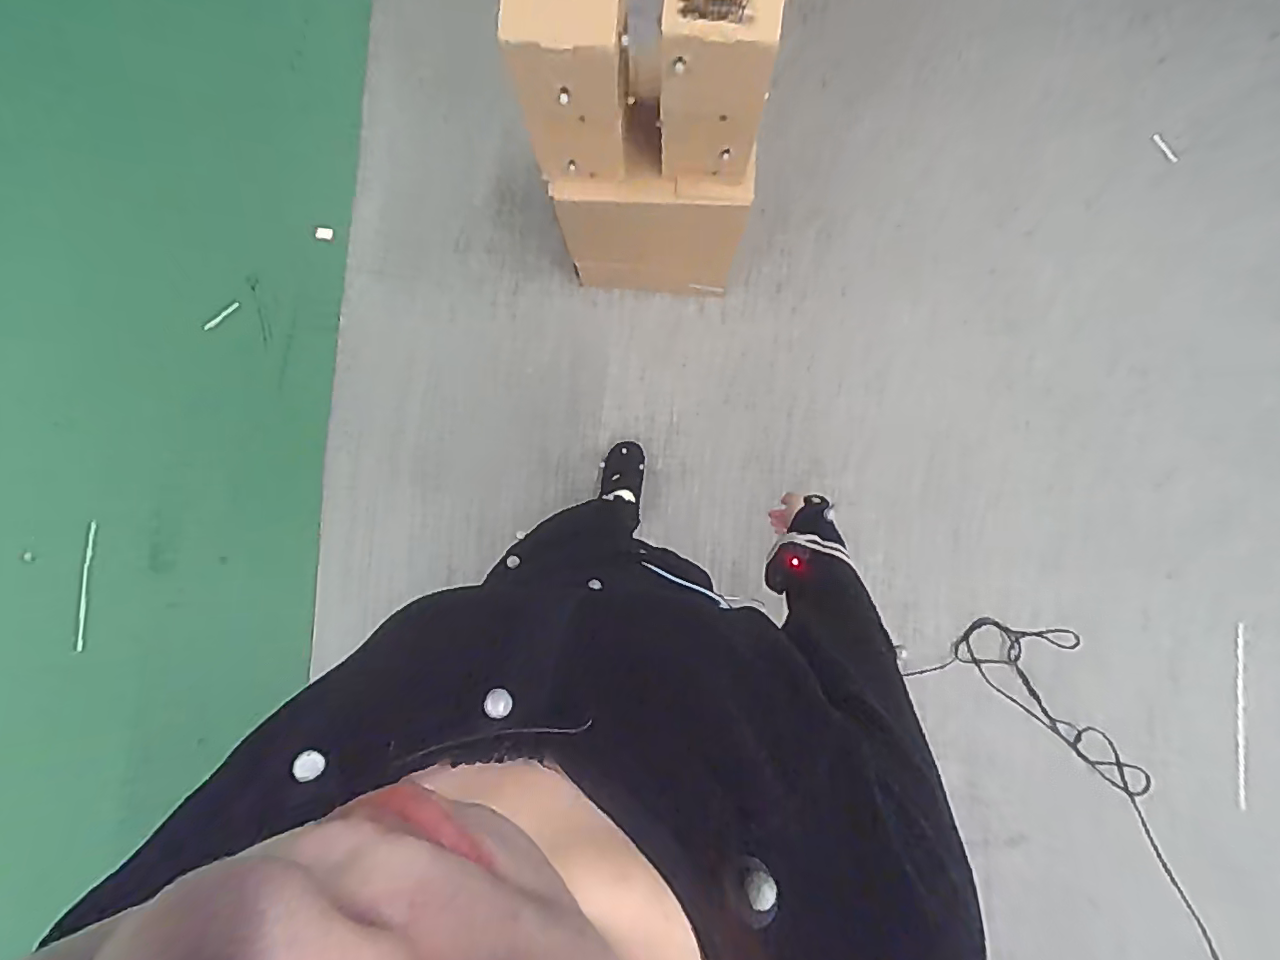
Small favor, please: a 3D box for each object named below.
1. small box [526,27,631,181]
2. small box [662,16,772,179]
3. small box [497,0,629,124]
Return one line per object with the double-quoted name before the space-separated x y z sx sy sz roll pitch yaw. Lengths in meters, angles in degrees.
"small box" -0.105 -0.686 0.989 0.168 0.176 0.179 4 89 0
"small box" 0.133 -0.682 0.983 0.168 0.176 0.179 7 87 2
"small box" -0.107 -0.684 0.825 0.168 0.176 0.179 6 90 0
